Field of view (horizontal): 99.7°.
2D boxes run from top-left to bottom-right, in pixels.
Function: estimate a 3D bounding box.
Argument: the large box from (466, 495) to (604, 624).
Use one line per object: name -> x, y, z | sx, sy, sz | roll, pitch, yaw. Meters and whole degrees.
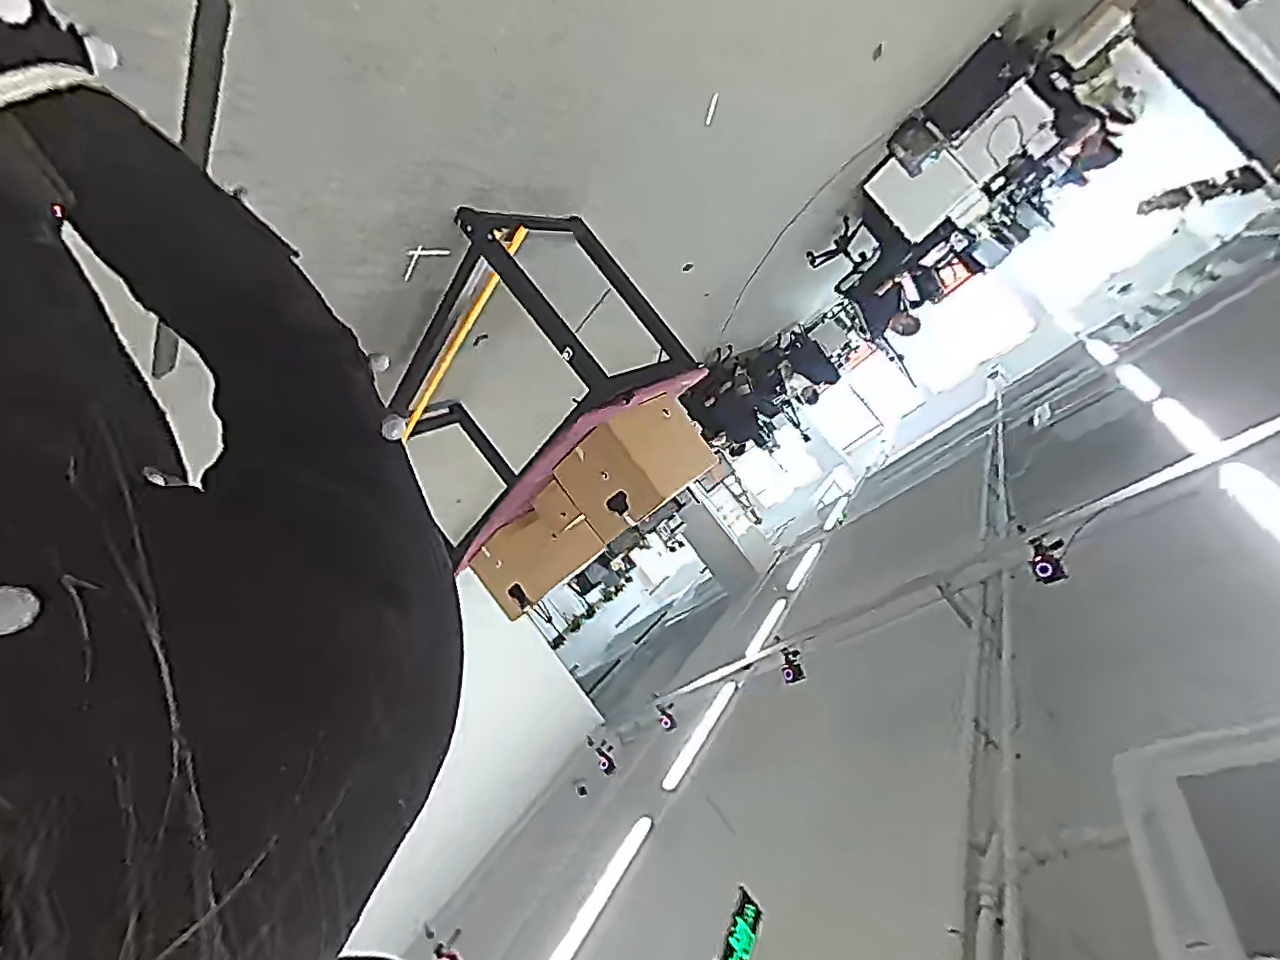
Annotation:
large box -> -0.438, 0.323, 2.262 | 0.320, 0.320, 0.408 | -41, 176, 37
